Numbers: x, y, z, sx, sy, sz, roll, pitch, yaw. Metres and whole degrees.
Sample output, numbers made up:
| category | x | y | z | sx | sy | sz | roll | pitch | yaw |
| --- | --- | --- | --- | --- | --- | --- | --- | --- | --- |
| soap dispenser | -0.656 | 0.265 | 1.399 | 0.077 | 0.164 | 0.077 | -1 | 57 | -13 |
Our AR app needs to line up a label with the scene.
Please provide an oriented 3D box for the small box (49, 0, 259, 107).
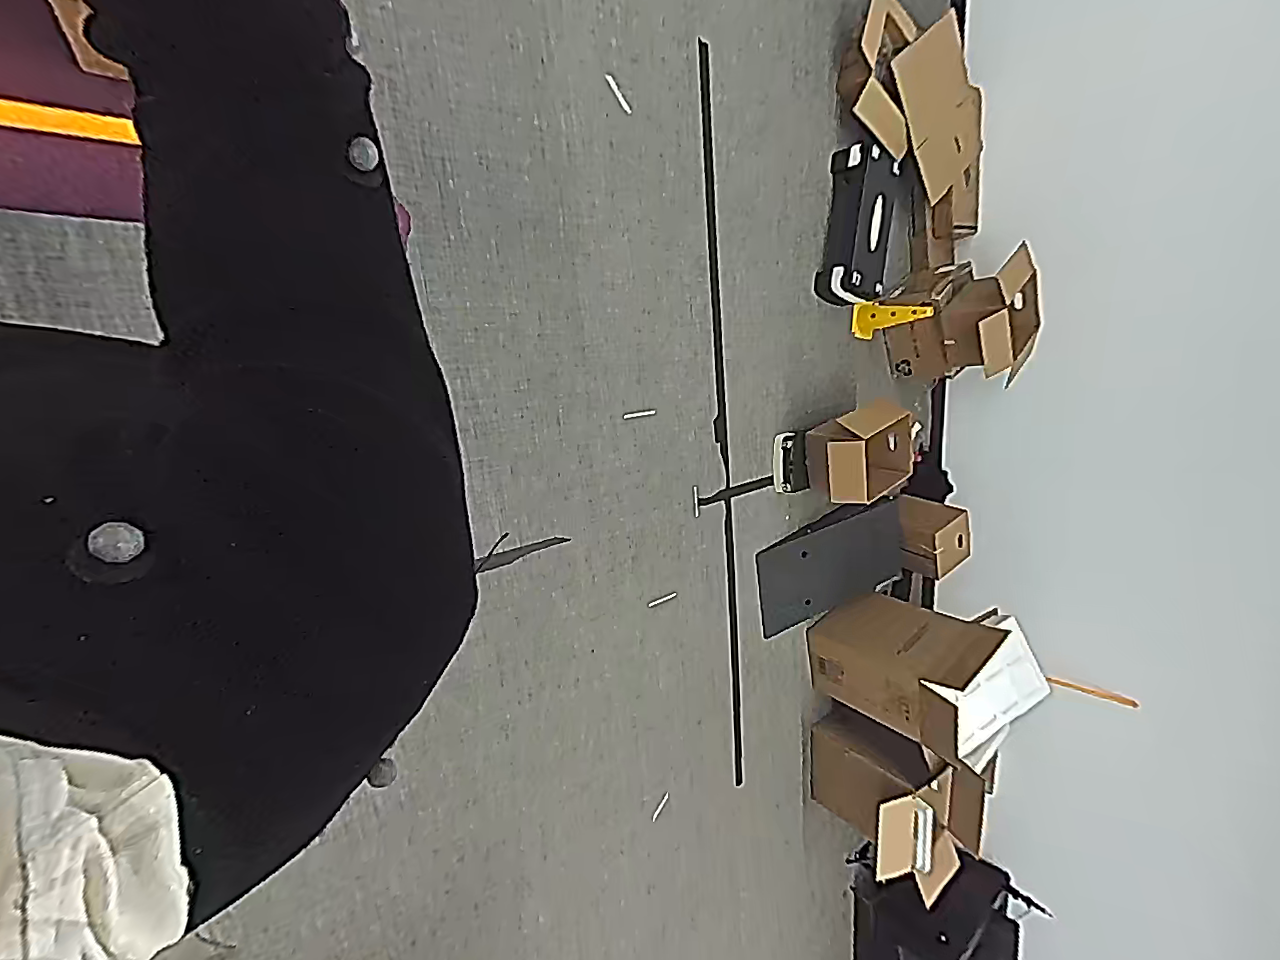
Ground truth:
| category | x | y | z | sx | sy | sz | roll | pitch | yaw |
| --- | --- | --- | --- | --- | --- | --- | --- | --- | --- |
| small box | -0.524 | -0.540 | 0.573 | 0.168 | 0.176 | 0.179 | -15 | 105 | -33 |
